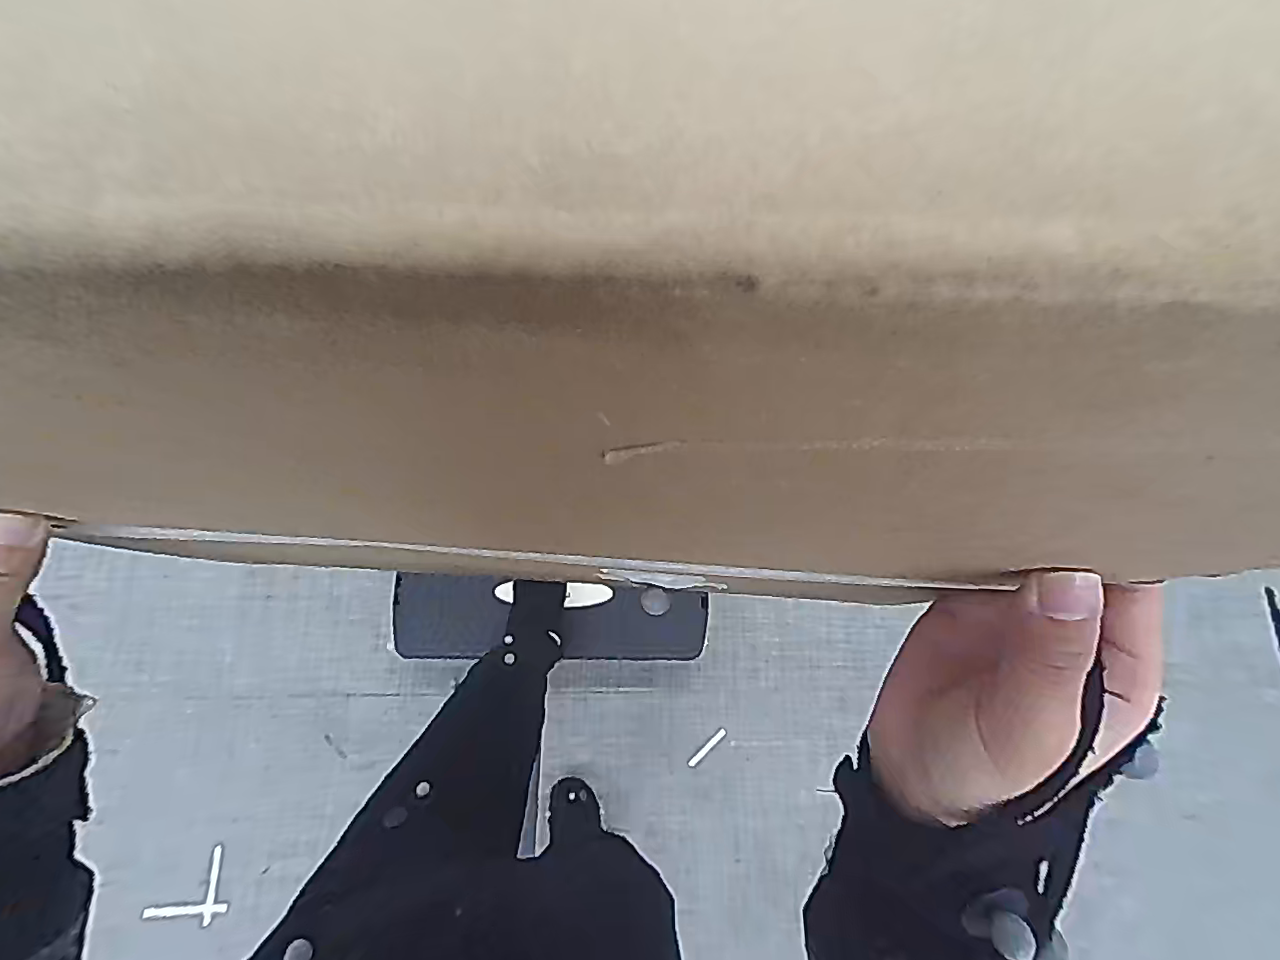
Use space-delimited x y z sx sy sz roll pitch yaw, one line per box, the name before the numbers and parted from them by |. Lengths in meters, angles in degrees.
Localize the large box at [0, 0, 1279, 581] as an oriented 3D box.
large box | -0.067 -0.133 0.232 0.408 0.320 0.320 2 75 4
